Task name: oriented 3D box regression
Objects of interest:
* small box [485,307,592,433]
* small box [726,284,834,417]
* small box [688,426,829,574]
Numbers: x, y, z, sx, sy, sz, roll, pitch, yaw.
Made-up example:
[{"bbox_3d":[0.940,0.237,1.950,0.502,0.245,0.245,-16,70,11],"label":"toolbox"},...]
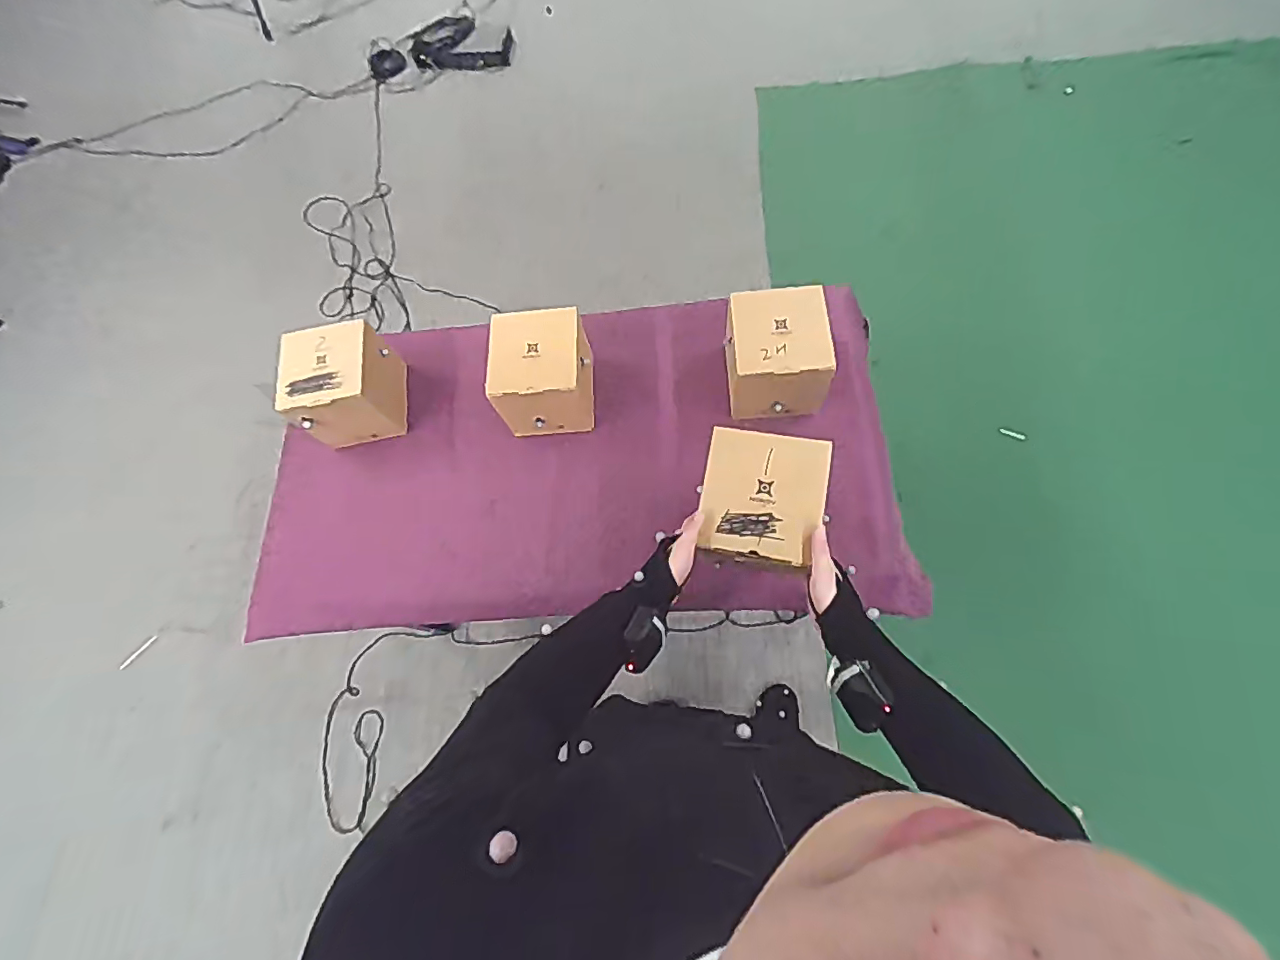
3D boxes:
[{"bbox_3d":[-0.187,-0.208,1.047,0.168,0.176,0.179,-4,70,4],"label":"small box"},{"bbox_3d":[0.251,-0.236,1.012,0.168,0.176,0.179,-3,70,5],"label":"small box"},{"bbox_3d":[0.174,0.038,0.810,0.168,0.176,0.179,10,77,12],"label":"small box"}]
